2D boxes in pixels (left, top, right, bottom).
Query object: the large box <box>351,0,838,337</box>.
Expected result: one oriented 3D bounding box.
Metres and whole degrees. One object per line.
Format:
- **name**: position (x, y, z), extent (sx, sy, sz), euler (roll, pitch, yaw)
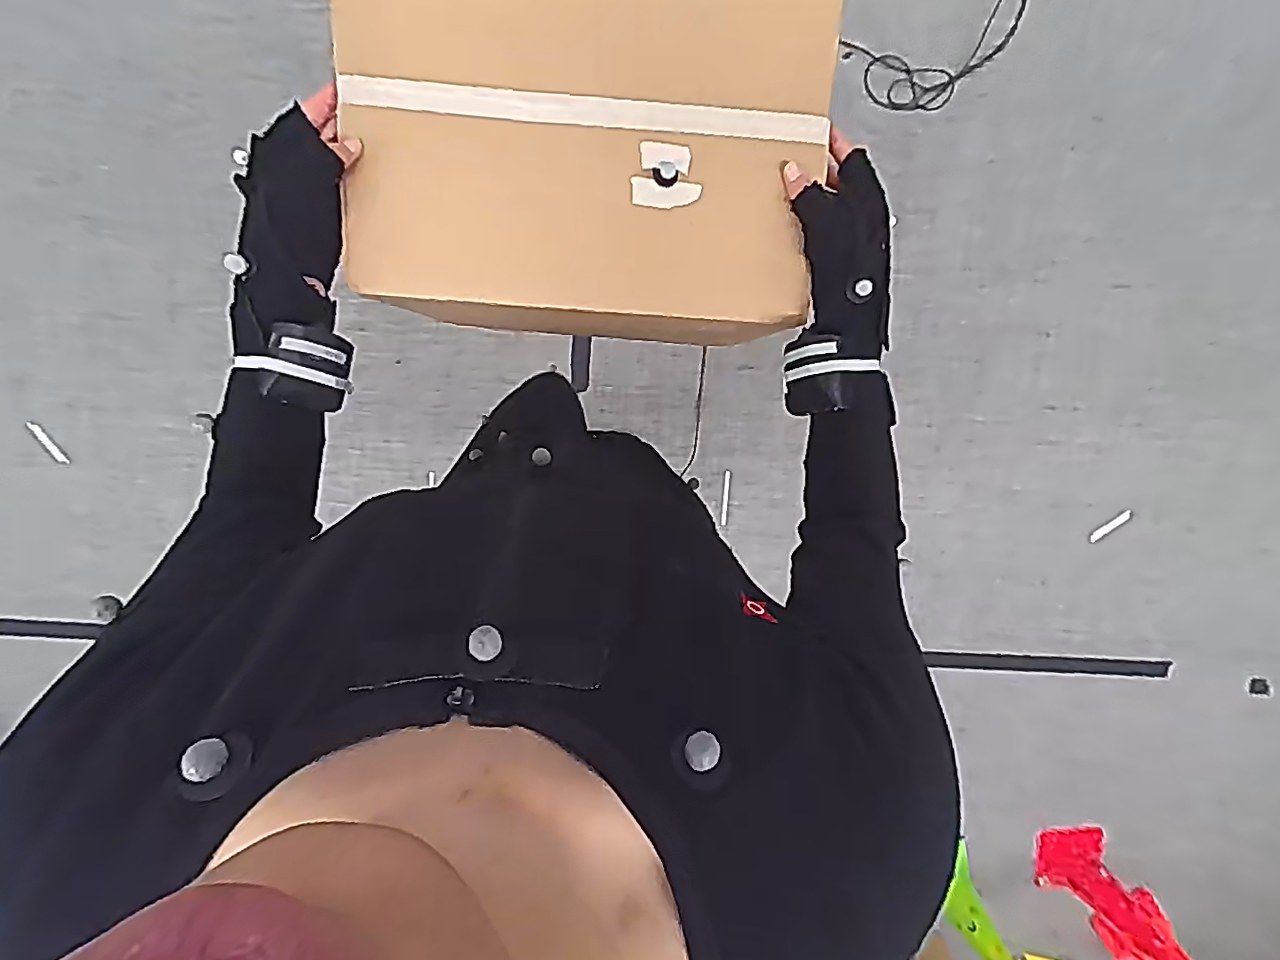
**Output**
- **large box**: position (-0.046, -0.337, 0.601), extent (0.408, 0.320, 0.320), euler (3, 101, -4)
